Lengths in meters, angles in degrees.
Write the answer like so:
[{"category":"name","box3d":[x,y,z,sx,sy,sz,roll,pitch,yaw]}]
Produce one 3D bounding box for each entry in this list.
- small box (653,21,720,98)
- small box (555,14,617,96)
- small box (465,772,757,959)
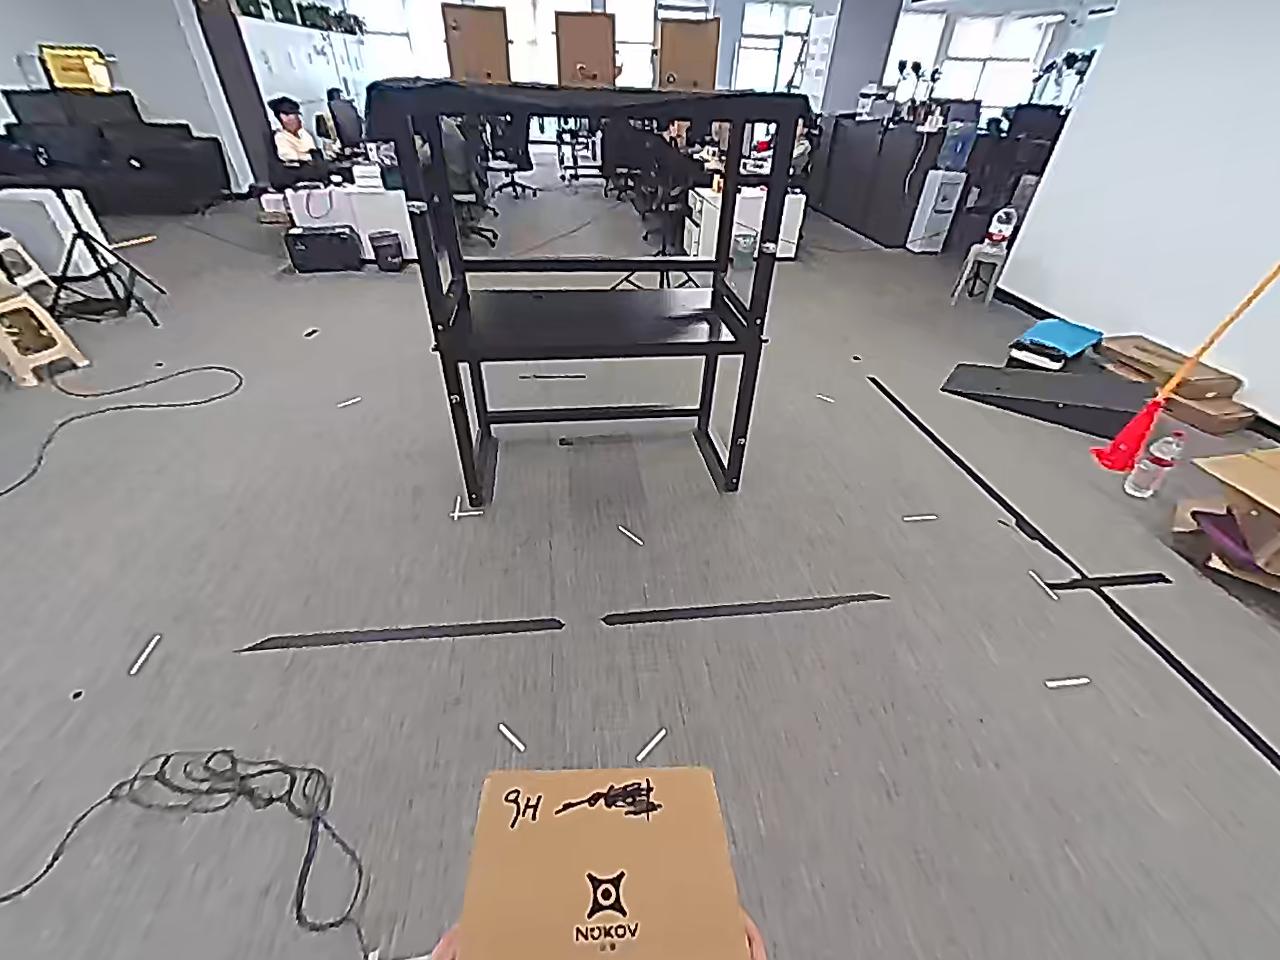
[{"category":"small box","box3d":[0.129,-1.219,1.573,0.168,0.176,0.179,-2,36,-6]},{"category":"small box","box3d":[-0.150,-1.198,1.532,0.168,0.176,0.179,-2,36,-5]},{"category":"small box","box3d":[-0.024,0.324,0.357,0.168,0.176,0.179,4,31,-7]}]
